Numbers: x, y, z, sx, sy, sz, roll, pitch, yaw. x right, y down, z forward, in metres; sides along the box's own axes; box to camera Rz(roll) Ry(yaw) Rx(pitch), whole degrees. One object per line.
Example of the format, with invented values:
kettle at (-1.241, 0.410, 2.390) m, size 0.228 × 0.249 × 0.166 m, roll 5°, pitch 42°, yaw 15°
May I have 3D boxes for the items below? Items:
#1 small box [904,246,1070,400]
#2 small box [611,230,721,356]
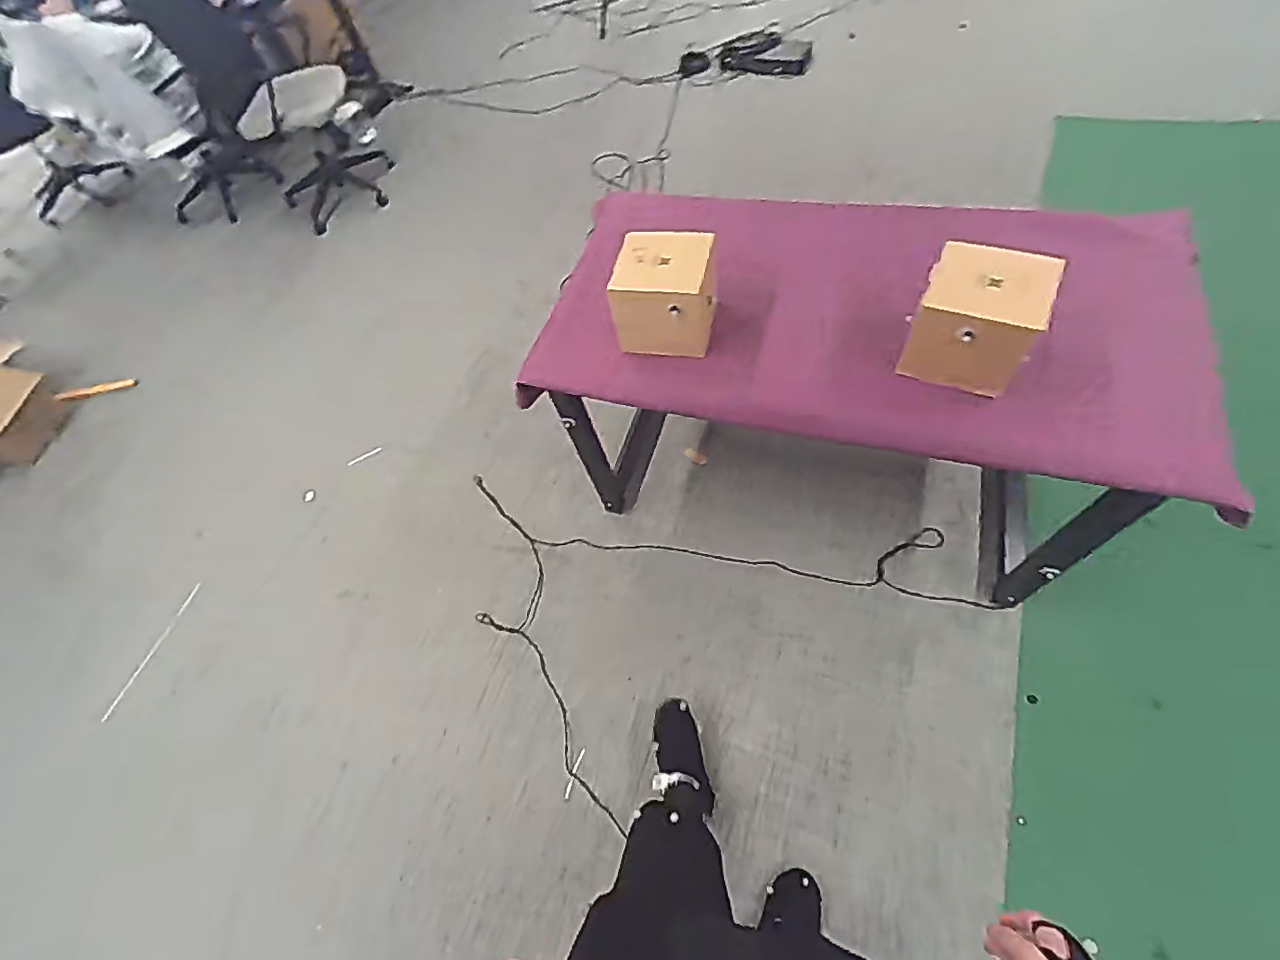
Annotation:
small box at (0.575, -0.262, 0.919) m, size 0.179 × 0.176 × 0.168 m, roll 23°, pitch 67°, yaw 21°
small box at (0.061, -0.366, 1.071) m, size 0.179 × 0.176 × 0.168 m, roll 8°, pitch 62°, yaw 15°
